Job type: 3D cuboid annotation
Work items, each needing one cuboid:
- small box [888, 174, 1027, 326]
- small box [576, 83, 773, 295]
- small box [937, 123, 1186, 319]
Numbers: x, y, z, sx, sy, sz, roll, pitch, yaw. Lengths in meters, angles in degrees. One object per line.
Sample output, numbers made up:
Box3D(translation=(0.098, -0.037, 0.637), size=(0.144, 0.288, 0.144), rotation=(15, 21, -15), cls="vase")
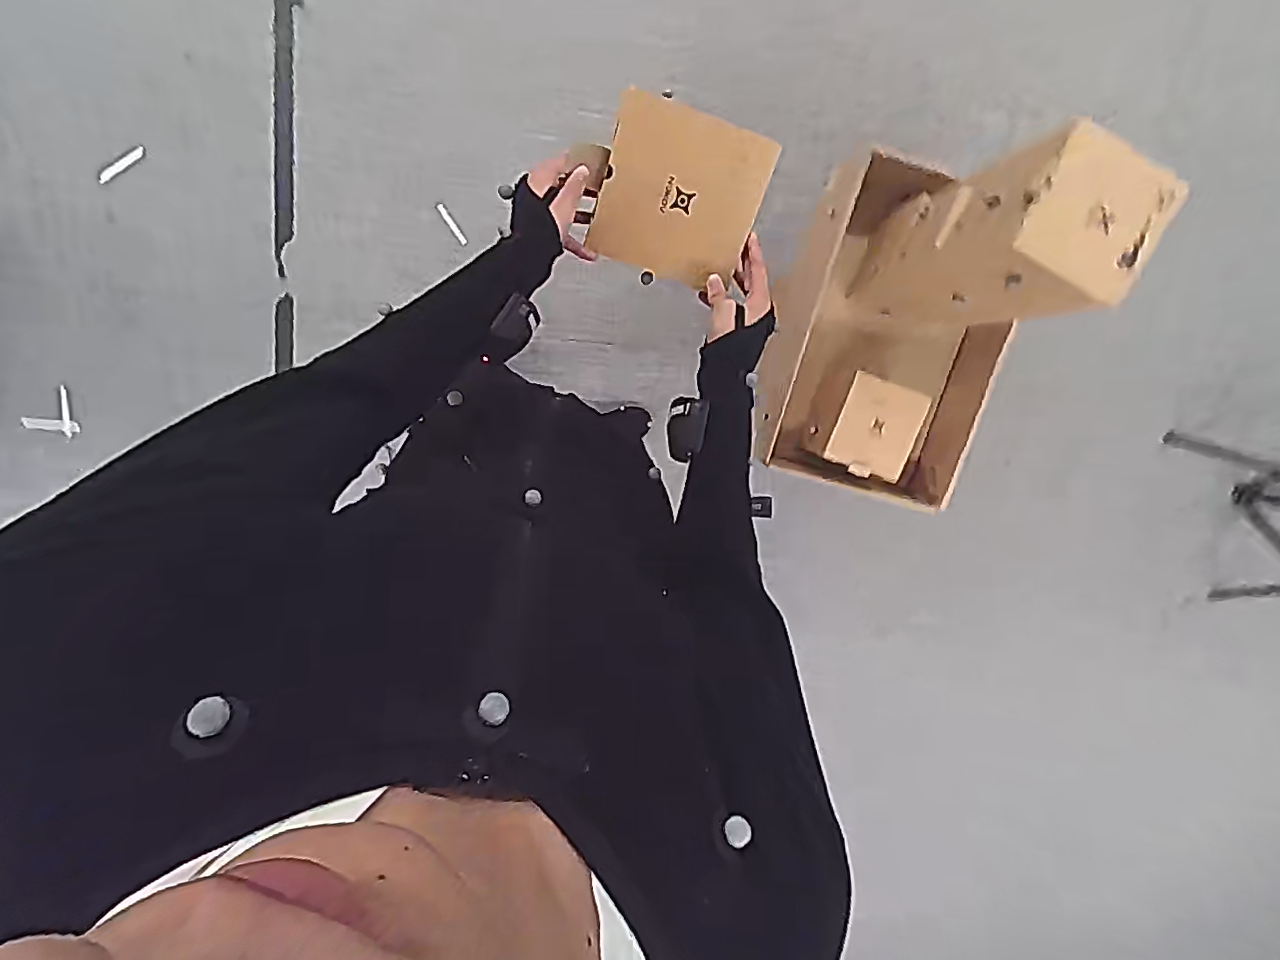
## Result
Box3D(translation=(0.559, -0.371, 0.912), size=(0.179, 0.176, 0.168), rotation=(23, 100, -8), cls="small box")
Box3D(translation=(0.039, -0.344, 0.662), size=(0.179, 0.176, 0.168), rotation=(18, 114, -4), cls="small box")
Box3D(translation=(0.562, -0.338, 0.750), size=(0.179, 0.176, 0.168), rotation=(27, 99, -7), cls="small box")
